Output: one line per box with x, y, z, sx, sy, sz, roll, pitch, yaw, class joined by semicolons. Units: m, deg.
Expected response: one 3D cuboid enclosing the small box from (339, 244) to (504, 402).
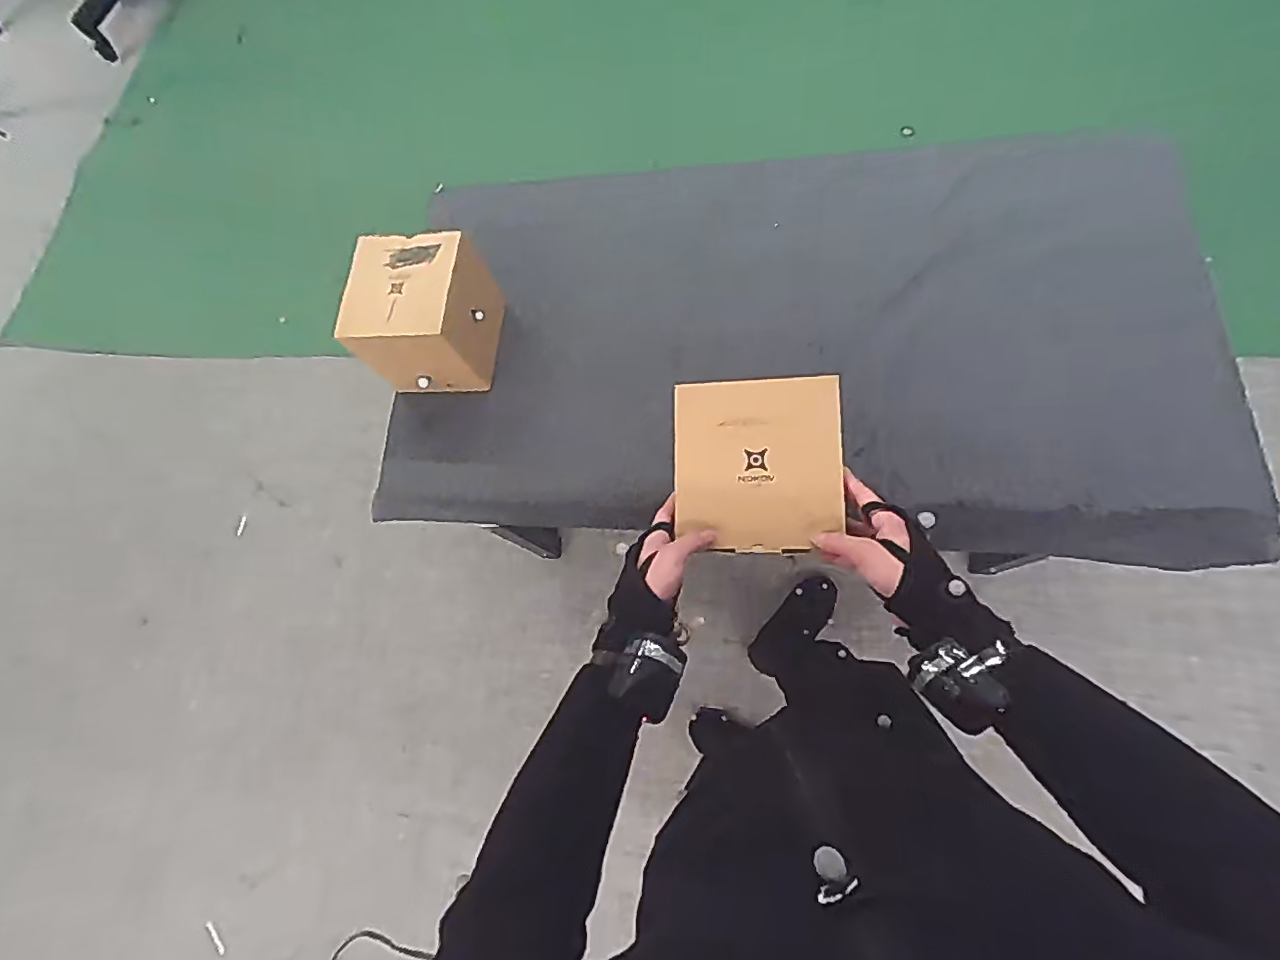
-0.327;-0.238;0.847;0.168;0.176;0.179;1;73;9;small box

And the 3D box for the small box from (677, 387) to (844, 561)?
0.134;0.005;0.626;0.168;0.176;0.179;-2;80;10;small box
